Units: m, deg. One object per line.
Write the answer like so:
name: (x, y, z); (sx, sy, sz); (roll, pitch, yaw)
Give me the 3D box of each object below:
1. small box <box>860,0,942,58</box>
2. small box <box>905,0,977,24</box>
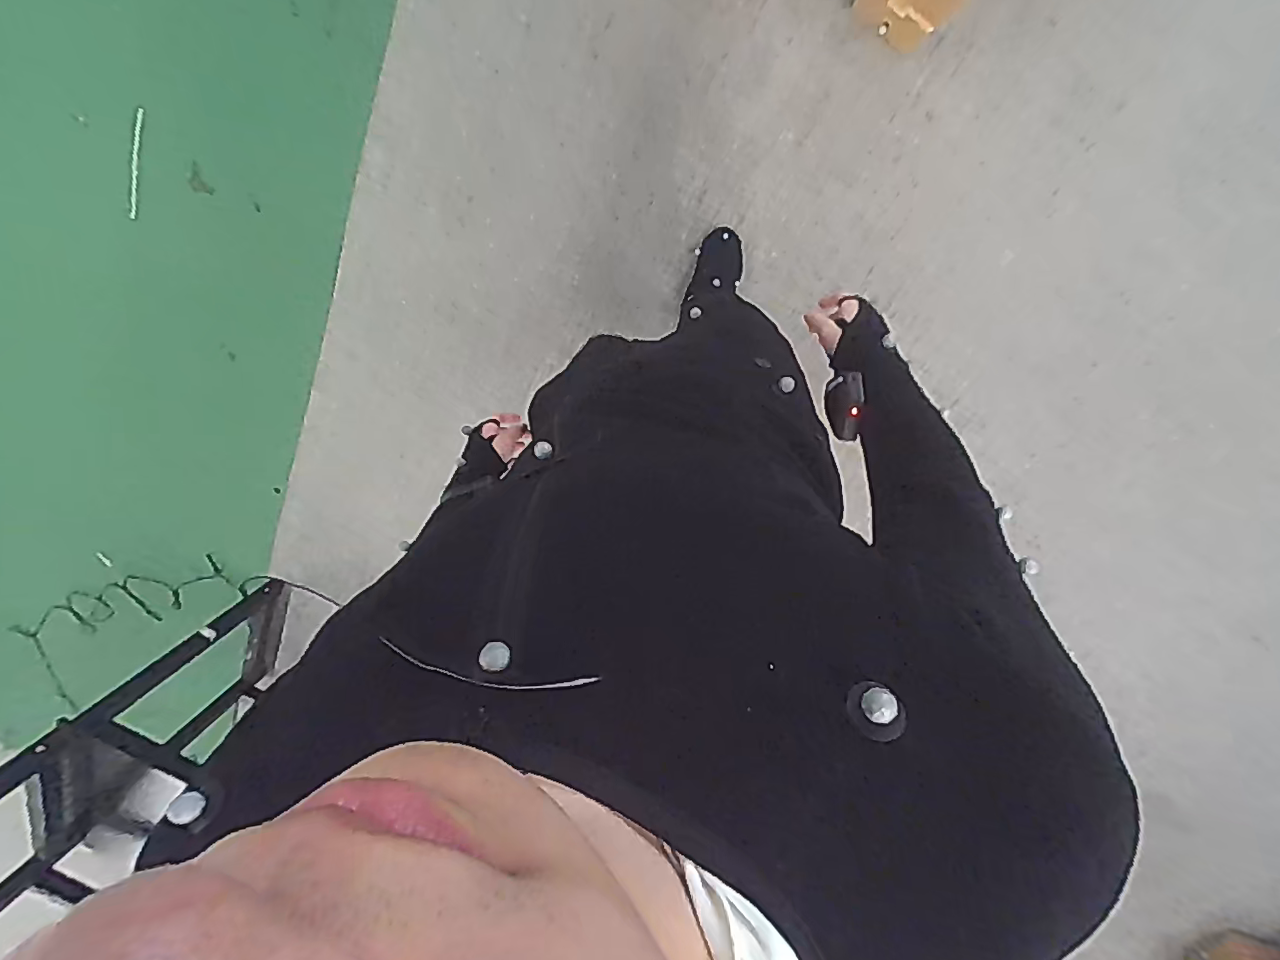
small box: (0.564, -0.995, 1.075); (0.168, 0.176, 0.179); (35, 116, -5)
small box: (0.547, -0.933, 0.925); (0.179, 0.176, 0.168); (34, 114, -4)
